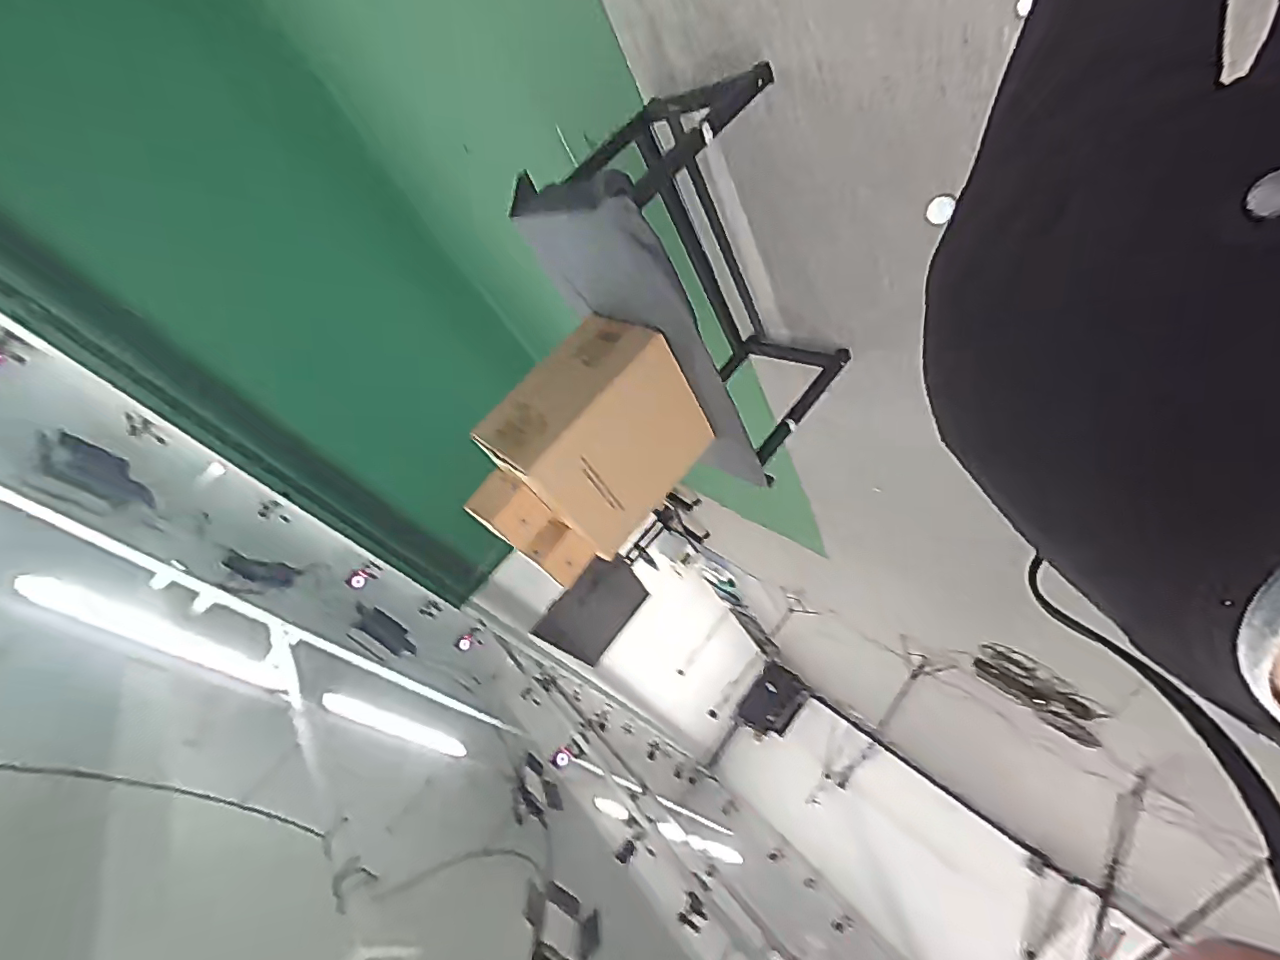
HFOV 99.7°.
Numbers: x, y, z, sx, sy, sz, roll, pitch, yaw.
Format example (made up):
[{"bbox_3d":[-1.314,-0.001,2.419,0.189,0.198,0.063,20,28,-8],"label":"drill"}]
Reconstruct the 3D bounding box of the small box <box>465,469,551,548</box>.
[{"bbox_3d":[-0.433,0.089,1.790,0.168,0.176,0.179,24,159,41],"label":"small box"}]

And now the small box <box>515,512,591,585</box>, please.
[{"bbox_3d":[-0.308,0.244,1.954,0.168,0.176,0.179,23,159,41],"label":"small box"}]
